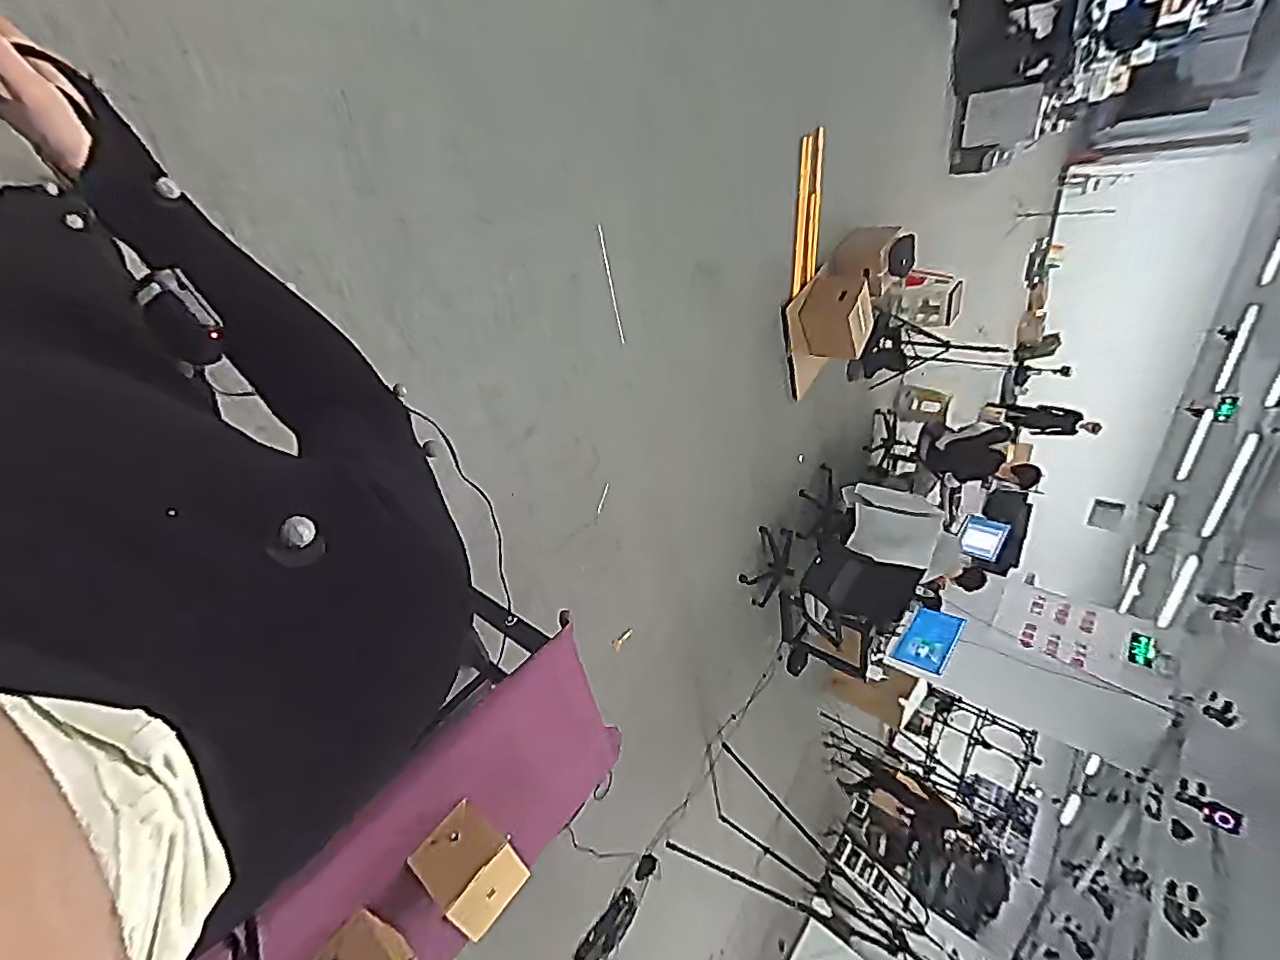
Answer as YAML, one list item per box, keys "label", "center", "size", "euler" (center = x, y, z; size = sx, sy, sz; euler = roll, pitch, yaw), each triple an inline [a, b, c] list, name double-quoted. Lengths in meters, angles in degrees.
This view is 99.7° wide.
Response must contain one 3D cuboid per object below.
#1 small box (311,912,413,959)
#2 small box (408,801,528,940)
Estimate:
- label: "small box"
  center: [-0.557, 1.023, 1.083]
  size: [0.168, 0.176, 0.179]
  euler: [-42, 133, -34]
- label: "small box"
  center: [-0.391, 0.883, 1.236]
  size: [0.168, 0.176, 0.179]
  euler: [-41, 132, -34]
